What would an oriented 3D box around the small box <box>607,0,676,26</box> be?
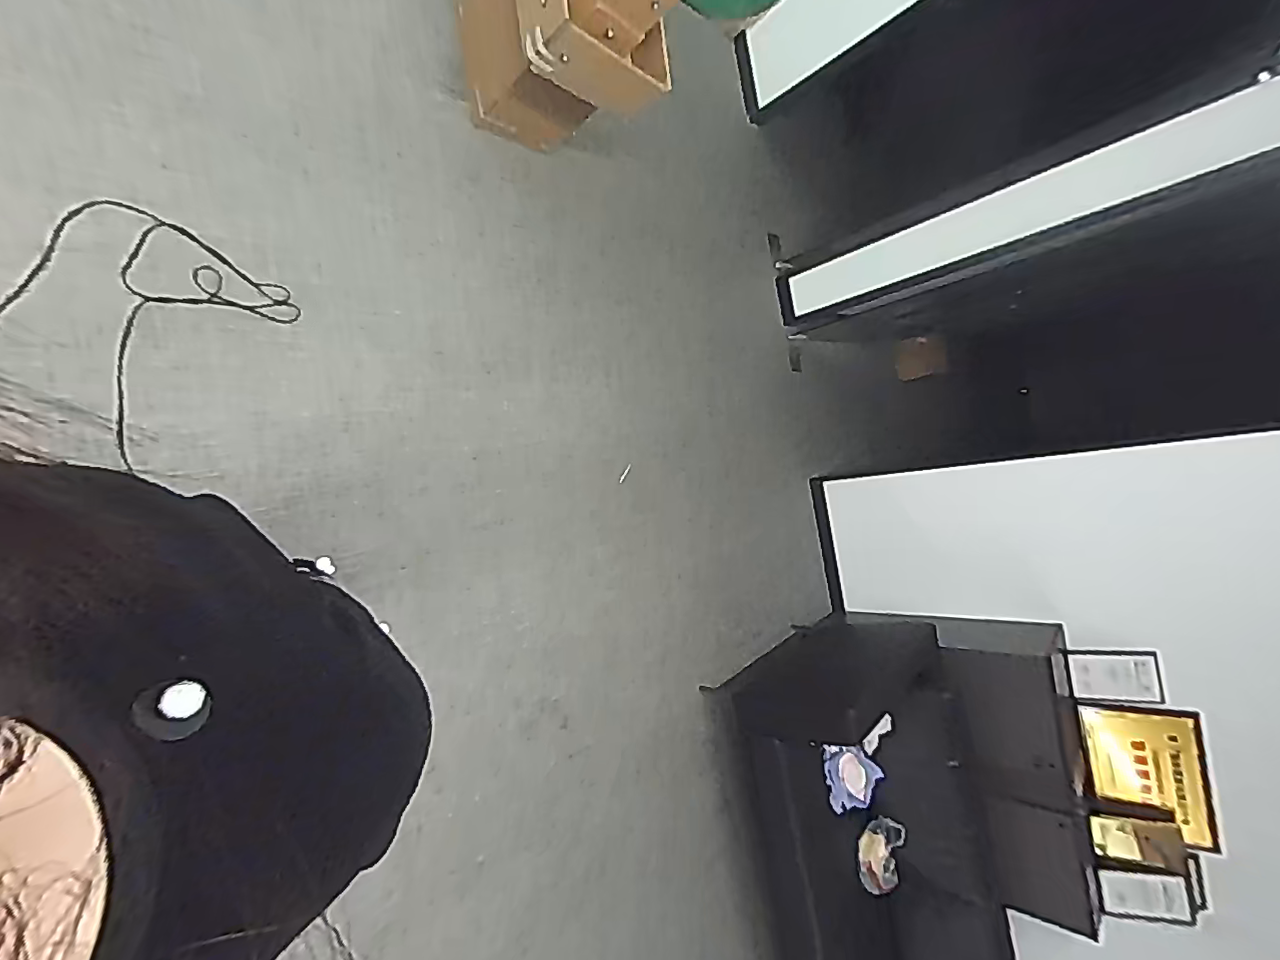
[{"bbox_3d":[0.005,-1.314,1.368,0.179,0.176,0.168,-2,85,-43],"label":"small box"}]
